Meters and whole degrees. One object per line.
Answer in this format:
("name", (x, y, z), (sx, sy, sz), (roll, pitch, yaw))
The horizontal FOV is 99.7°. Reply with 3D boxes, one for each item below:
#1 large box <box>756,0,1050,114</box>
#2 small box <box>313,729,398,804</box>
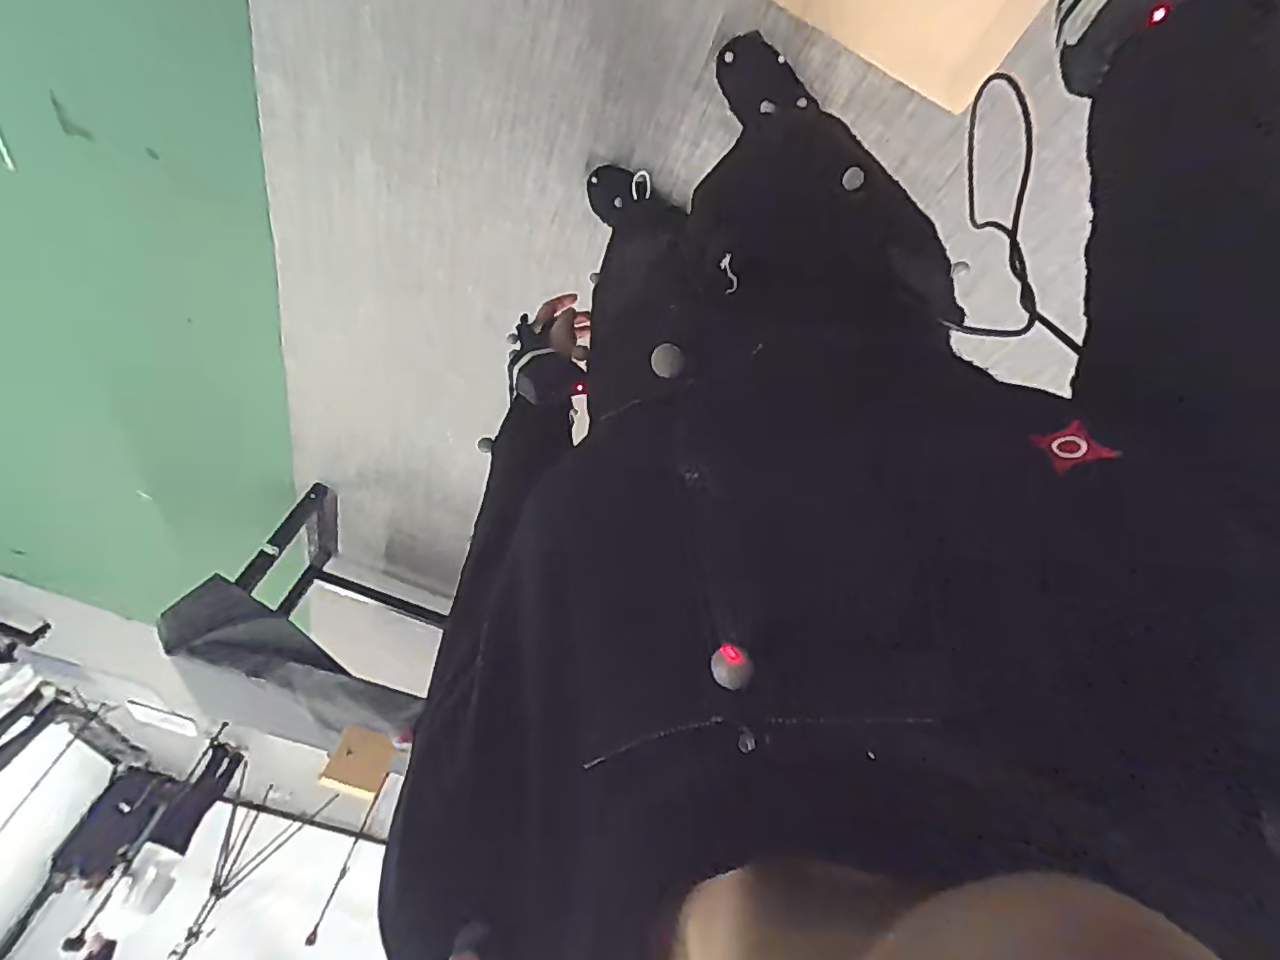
("large box", (0.337, -0.761, 0.695), (0.408, 0.320, 0.320), (22, 136, -10))
("small box", (-0.927, 0.931, 1.764), (0.179, 0.176, 0.168), (29, 136, -17))
